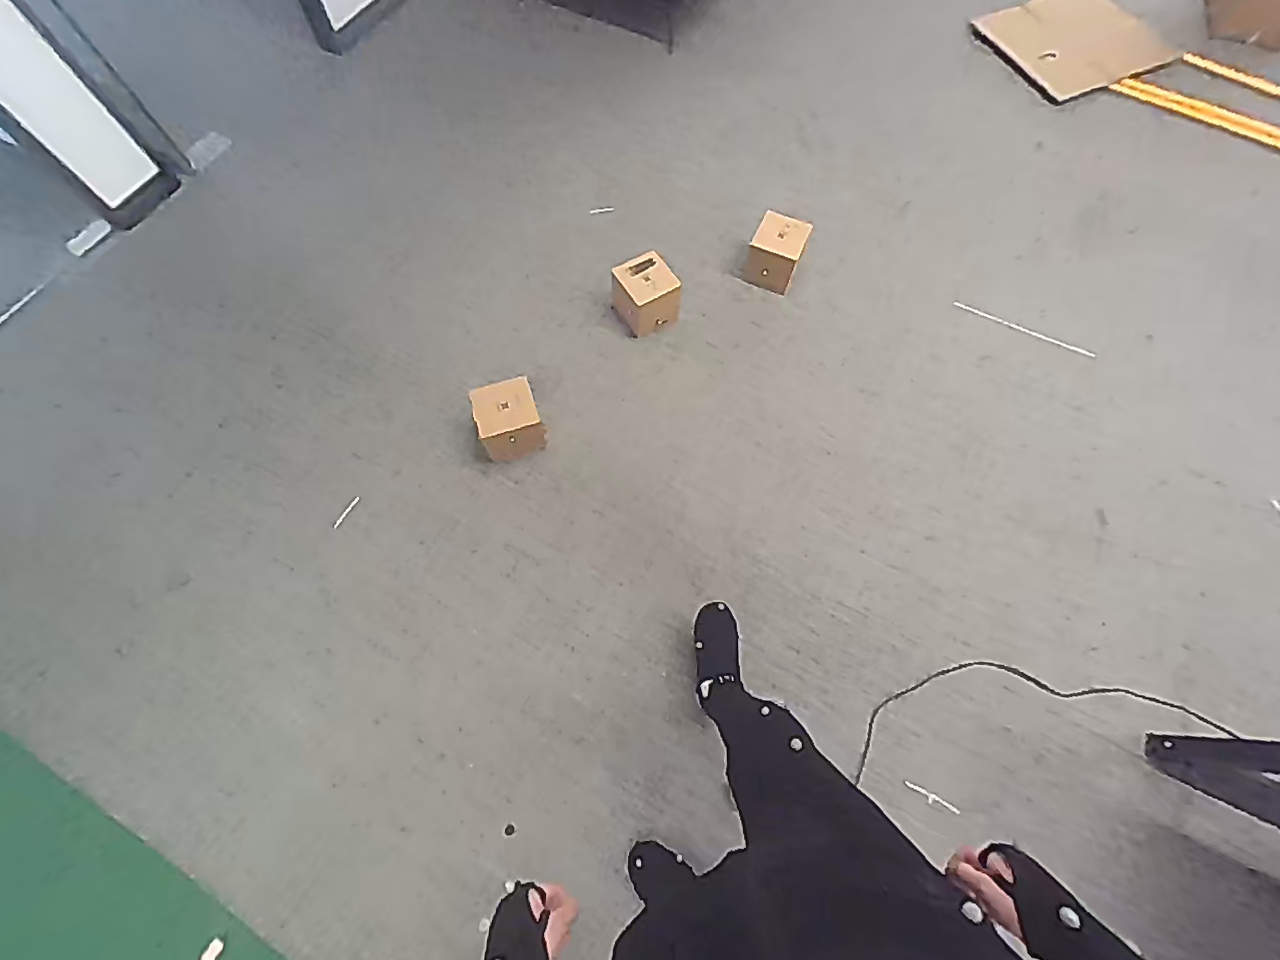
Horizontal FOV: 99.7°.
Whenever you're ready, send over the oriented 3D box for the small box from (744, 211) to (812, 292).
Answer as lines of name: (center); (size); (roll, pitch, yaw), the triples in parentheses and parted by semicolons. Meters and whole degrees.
small box: (0.472, -0.789, 1.881); (0.168, 0.176, 0.179); (24, 70, 9)
